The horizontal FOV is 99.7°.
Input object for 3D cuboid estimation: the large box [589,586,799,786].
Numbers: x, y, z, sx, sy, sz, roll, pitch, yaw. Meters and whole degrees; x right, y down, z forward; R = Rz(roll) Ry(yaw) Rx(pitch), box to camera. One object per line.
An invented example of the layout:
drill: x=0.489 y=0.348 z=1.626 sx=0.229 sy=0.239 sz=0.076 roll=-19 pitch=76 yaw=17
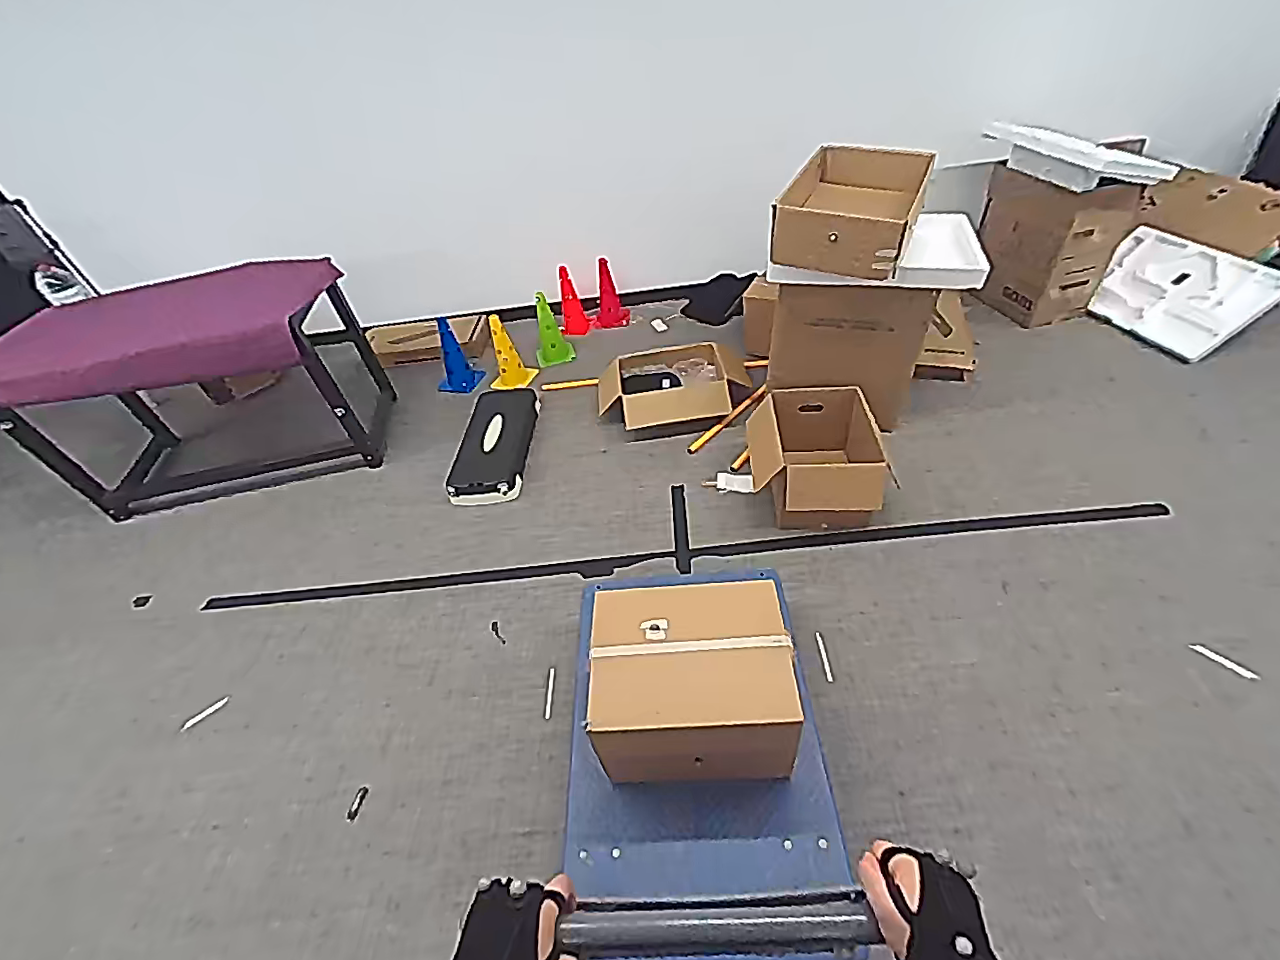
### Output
large box: x=0.118 y=0.471 z=1.224 sx=0.408 sy=0.320 sz=0.320 roll=-6 pitch=43 yaw=5
